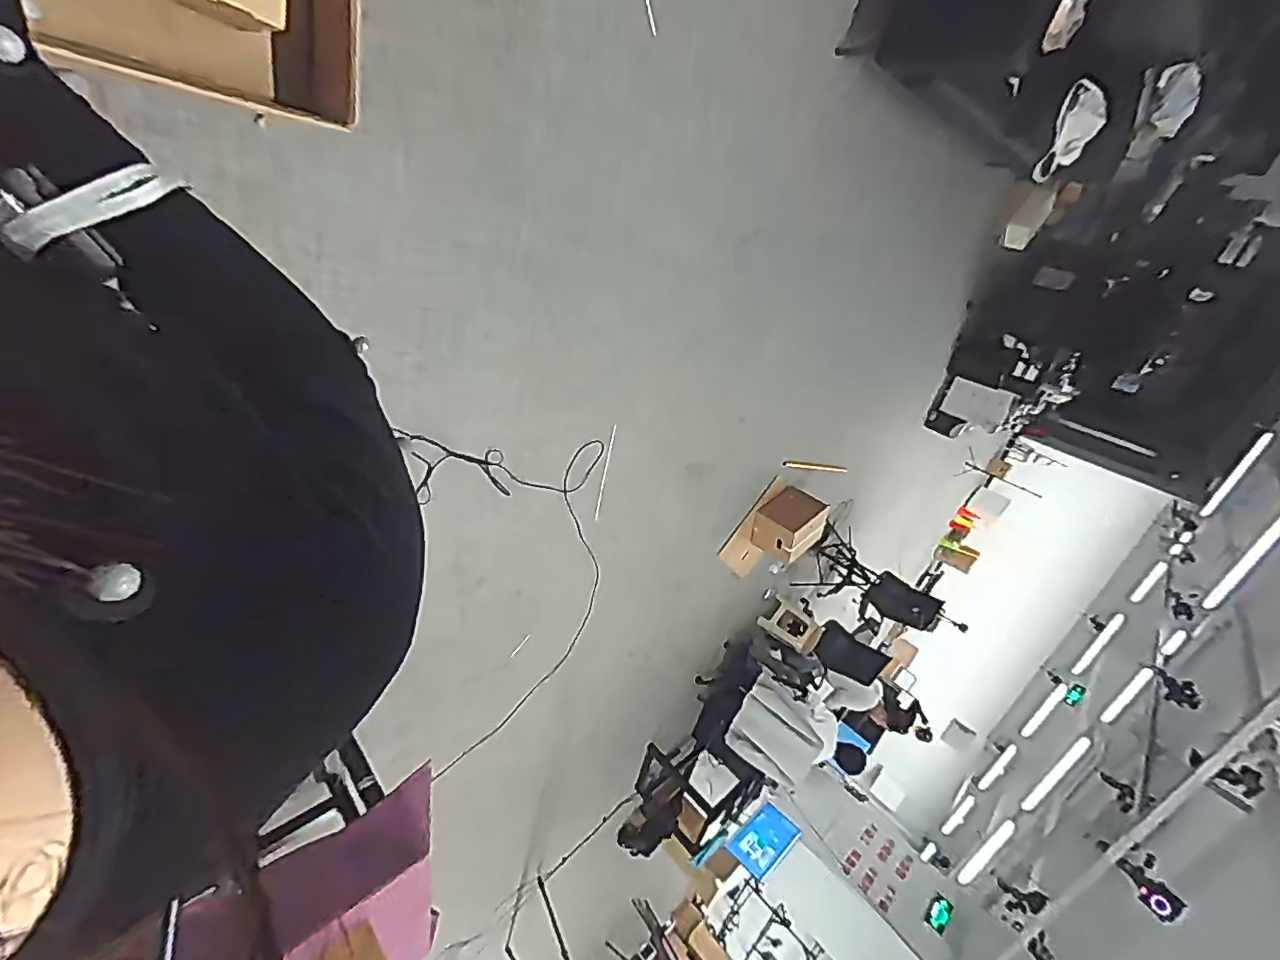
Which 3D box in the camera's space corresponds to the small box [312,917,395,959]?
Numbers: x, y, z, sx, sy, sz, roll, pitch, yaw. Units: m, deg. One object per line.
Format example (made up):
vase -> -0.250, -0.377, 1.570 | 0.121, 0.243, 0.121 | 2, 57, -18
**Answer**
small box -> -0.707, 1.246, 1.337 | 0.179, 0.176, 0.168 | -15, 129, -41
